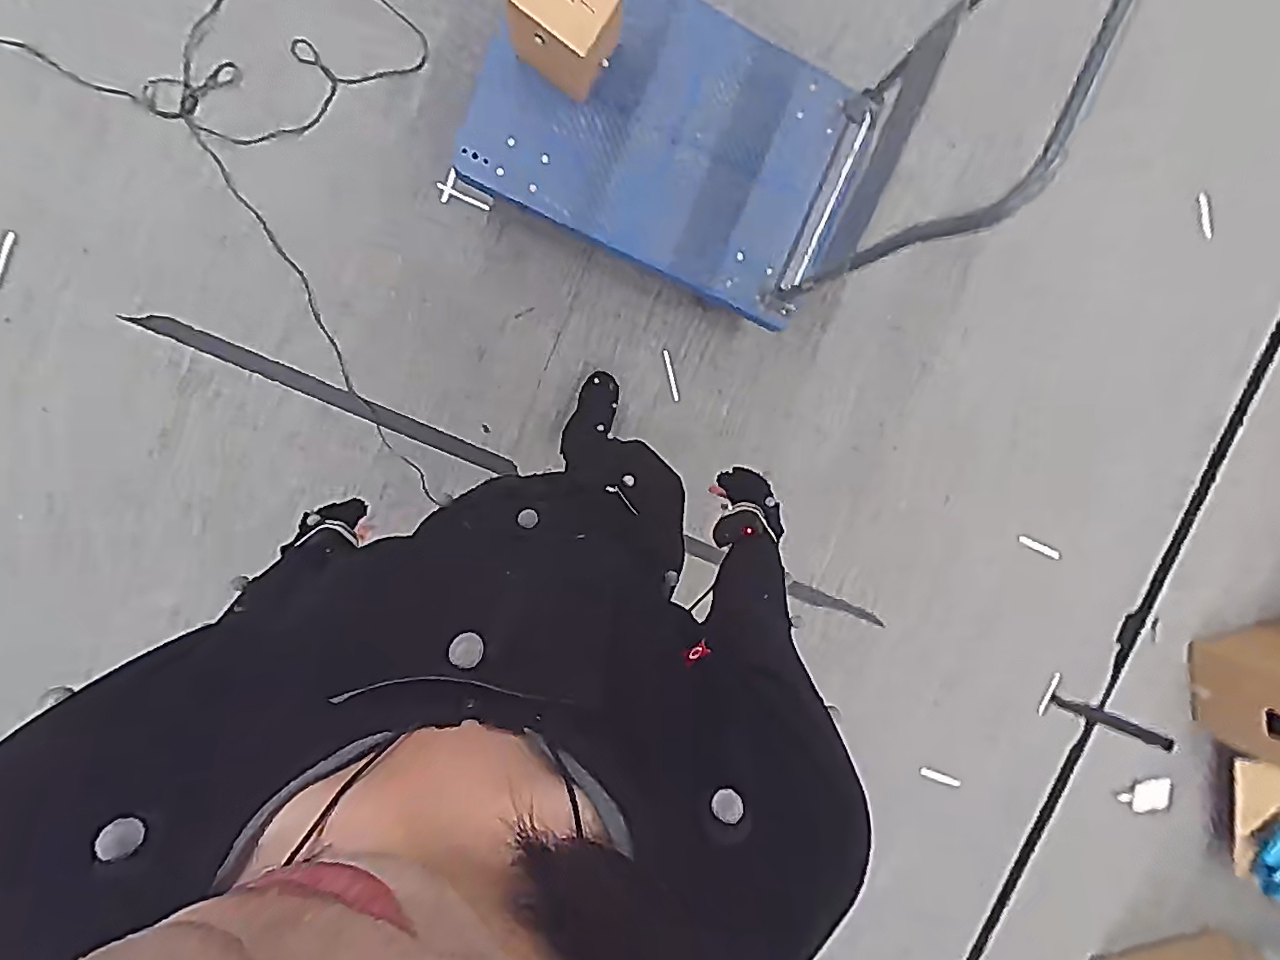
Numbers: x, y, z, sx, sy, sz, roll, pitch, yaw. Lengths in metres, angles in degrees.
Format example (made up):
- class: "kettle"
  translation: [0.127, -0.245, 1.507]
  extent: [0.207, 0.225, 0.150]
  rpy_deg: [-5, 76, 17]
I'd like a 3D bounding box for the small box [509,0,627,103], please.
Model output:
- class: "small box"
  translation: [-0.148, -0.939, 1.121]
  extent: [0.179, 0.176, 0.168]
  rpy_deg: [33, 92, -11]
